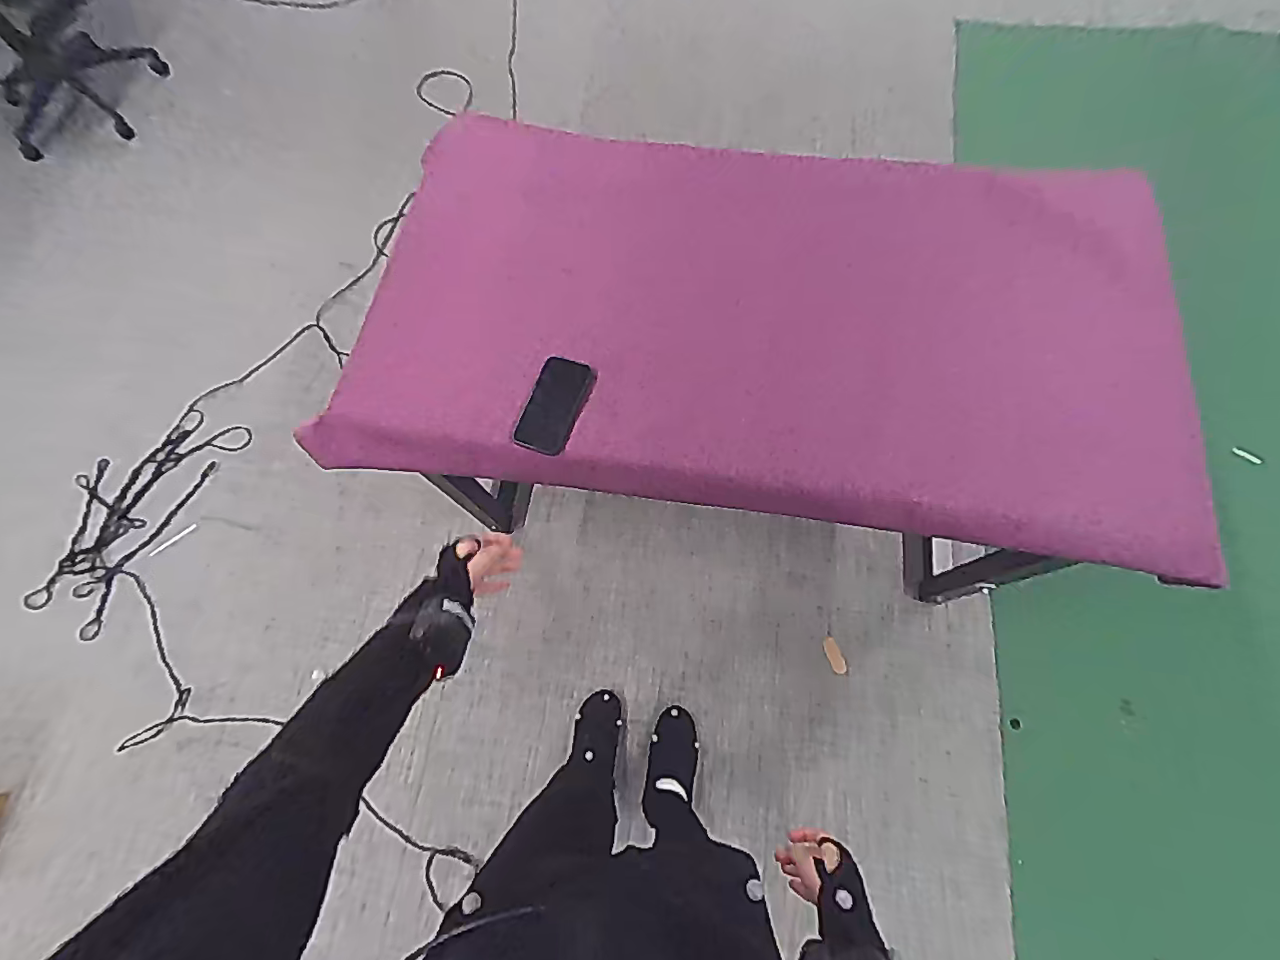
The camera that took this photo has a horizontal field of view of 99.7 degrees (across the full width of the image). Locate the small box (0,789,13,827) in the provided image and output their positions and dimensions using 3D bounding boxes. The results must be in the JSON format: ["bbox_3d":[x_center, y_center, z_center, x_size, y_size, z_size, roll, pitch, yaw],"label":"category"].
[{"bbox_3d":[-1.623,0.811,1.232,0.179,0.176,0.168,-1,70,3],"label":"small box"}]
